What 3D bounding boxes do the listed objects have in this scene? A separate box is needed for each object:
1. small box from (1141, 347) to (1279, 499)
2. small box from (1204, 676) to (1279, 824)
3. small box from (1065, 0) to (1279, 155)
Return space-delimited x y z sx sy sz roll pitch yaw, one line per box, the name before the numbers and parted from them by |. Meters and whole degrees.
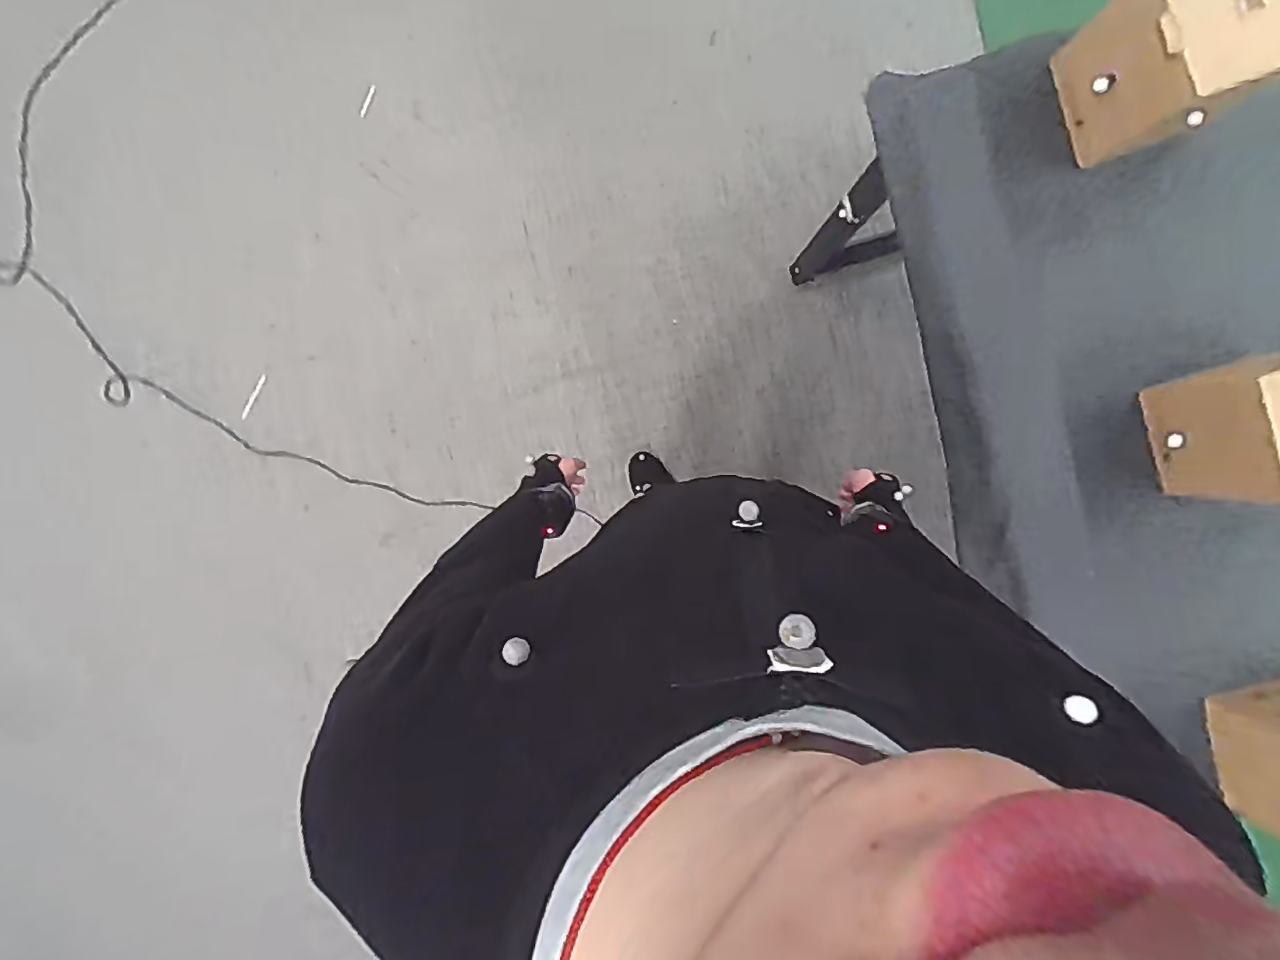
small box | 0.845 -0.084 0.727 0.179 0.176 0.168 -17 94 3
small box | 0.961 0.394 0.761 0.168 0.176 0.179 -14 95 3
small box | 0.695 -0.560 0.693 0.179 0.176 0.168 -19 94 3
